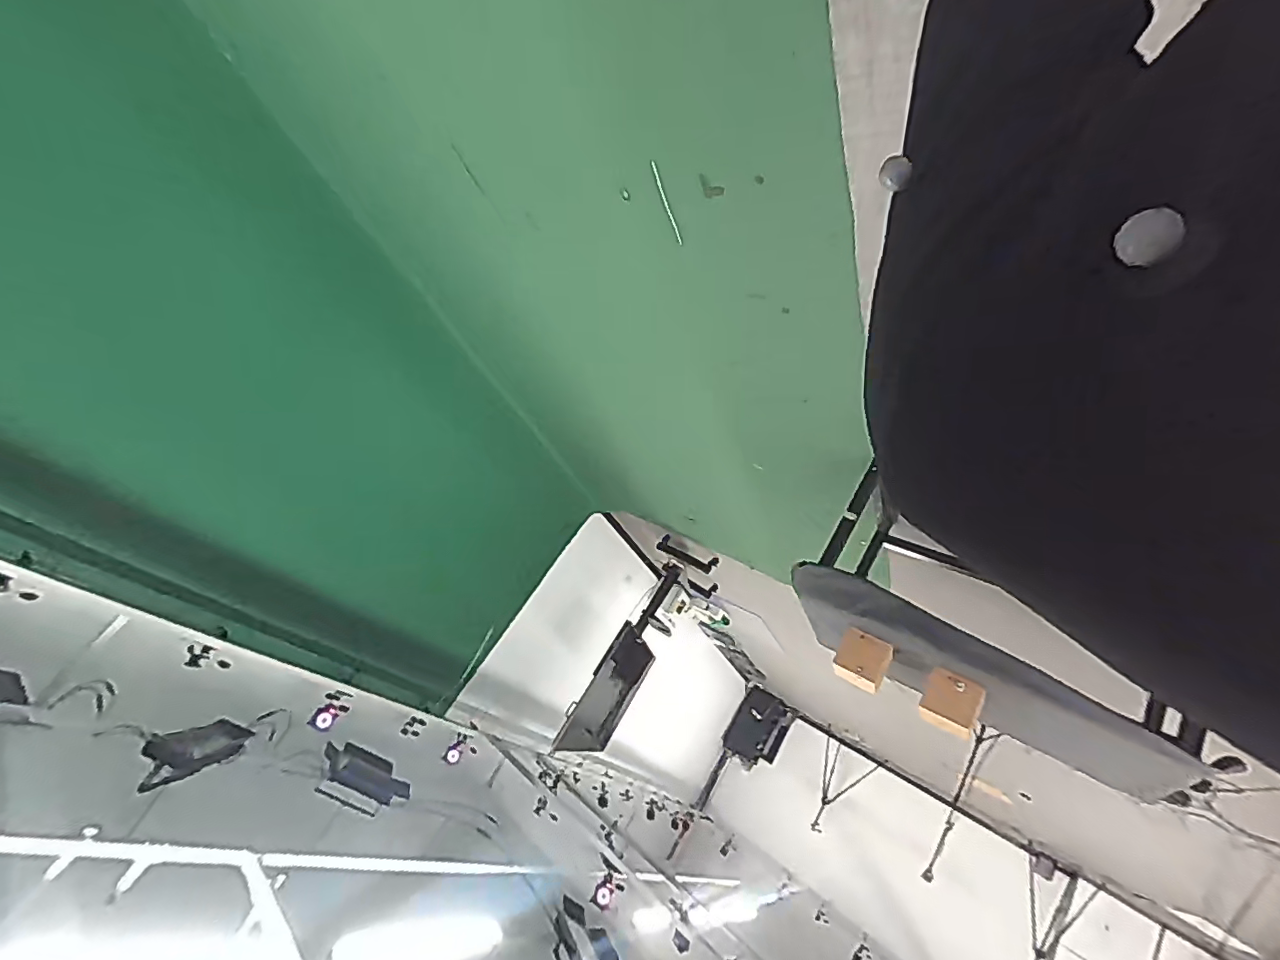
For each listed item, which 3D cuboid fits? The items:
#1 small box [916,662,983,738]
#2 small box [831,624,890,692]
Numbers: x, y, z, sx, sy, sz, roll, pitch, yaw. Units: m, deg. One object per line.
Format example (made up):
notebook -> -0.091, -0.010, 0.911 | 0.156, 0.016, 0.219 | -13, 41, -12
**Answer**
small box -> 1.106, 0.782, 1.930 | 0.168, 0.176, 0.179 | 18, 155, 39
small box -> 0.869, 0.696, 2.120 | 0.168, 0.176, 0.179 | 21, 158, 35
